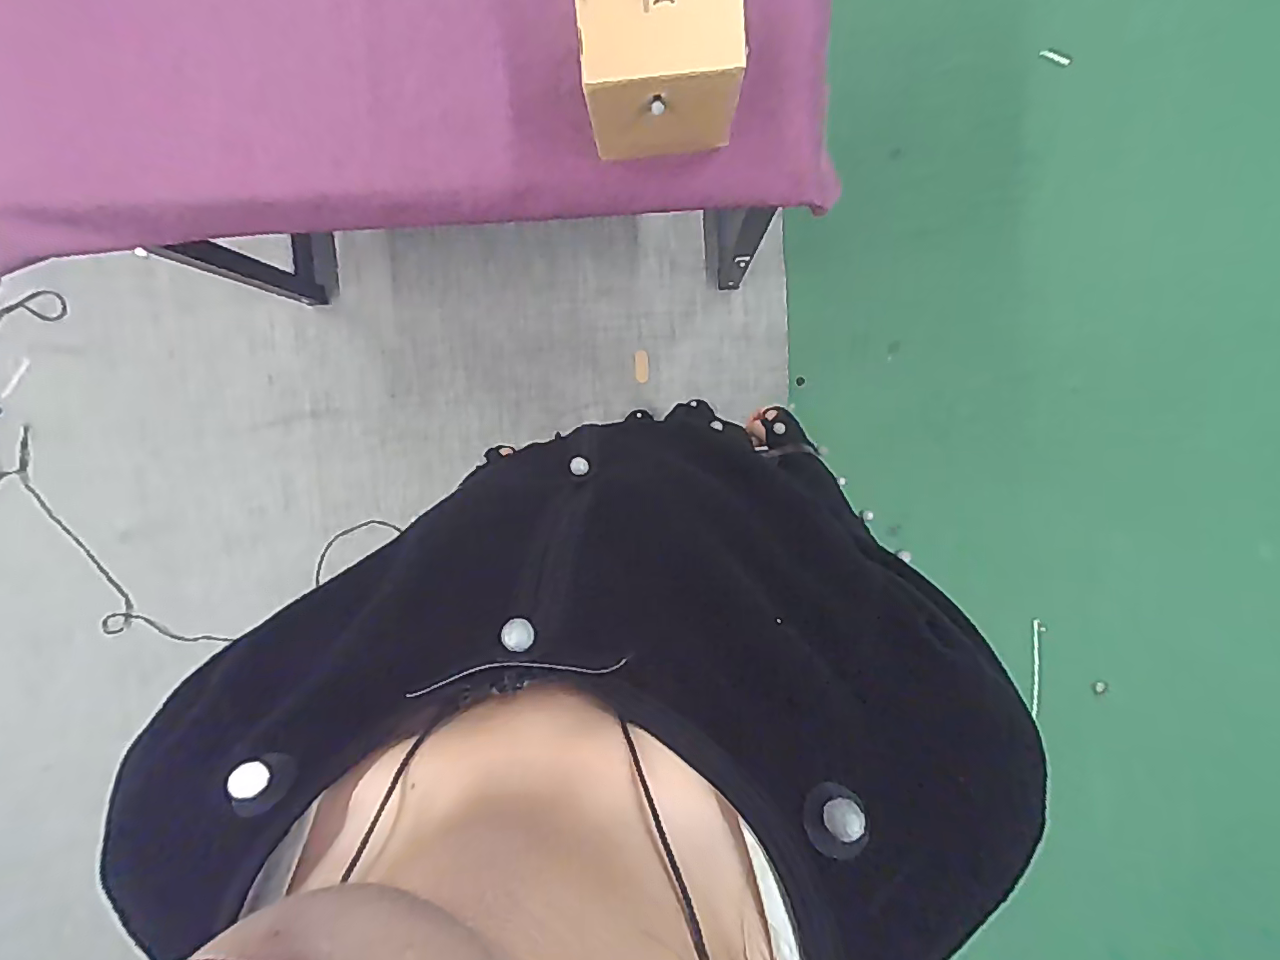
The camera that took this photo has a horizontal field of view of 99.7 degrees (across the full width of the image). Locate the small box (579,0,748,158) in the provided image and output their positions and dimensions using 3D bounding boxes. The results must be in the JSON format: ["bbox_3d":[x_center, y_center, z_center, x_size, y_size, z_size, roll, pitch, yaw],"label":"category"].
[{"bbox_3d":[0.028,-0.515,0.646,0.179,0.176,0.168,-4,97,6],"label":"small box"}]

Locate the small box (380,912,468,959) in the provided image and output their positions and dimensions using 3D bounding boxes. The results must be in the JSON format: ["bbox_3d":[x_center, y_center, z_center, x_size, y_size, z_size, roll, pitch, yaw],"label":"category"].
[{"bbox_3d":[-0.554,1.262,1.385,0.168,0.176,0.179,-8,95,3],"label":"small box"}]
